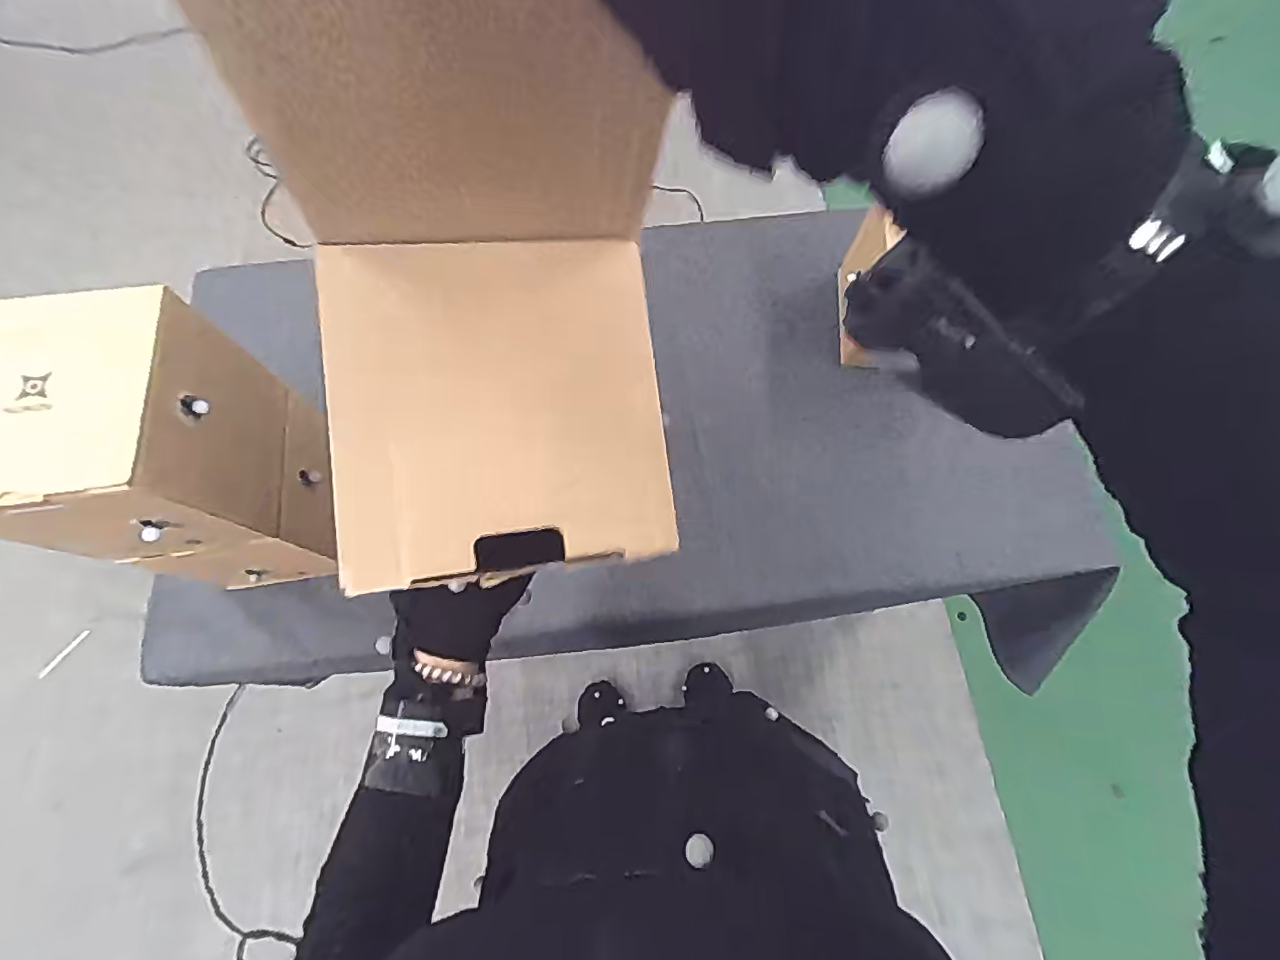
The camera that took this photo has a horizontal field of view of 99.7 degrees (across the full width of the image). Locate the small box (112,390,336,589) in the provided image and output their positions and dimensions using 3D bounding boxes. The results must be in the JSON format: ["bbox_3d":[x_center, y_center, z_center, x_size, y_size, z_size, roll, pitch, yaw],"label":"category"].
[{"bbox_3d":[-0.444,0.019,0.631,0.168,0.176,0.179,-8,71,-3],"label":"small box"}]

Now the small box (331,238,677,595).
[{"bbox_3d":[-0.079,-0.028,0.348,0.168,0.176,0.179,-3,83,-11],"label":"small box"}]

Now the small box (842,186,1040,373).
[{"bbox_3d":[0.378,-0.257,0.719,0.179,0.176,0.168,5,72,2],"label":"small box"}]

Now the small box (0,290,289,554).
[{"bbox_3d":[-0.445,-0.037,0.478,0.168,0.176,0.179,-7,71,-3],"label":"small box"}]
